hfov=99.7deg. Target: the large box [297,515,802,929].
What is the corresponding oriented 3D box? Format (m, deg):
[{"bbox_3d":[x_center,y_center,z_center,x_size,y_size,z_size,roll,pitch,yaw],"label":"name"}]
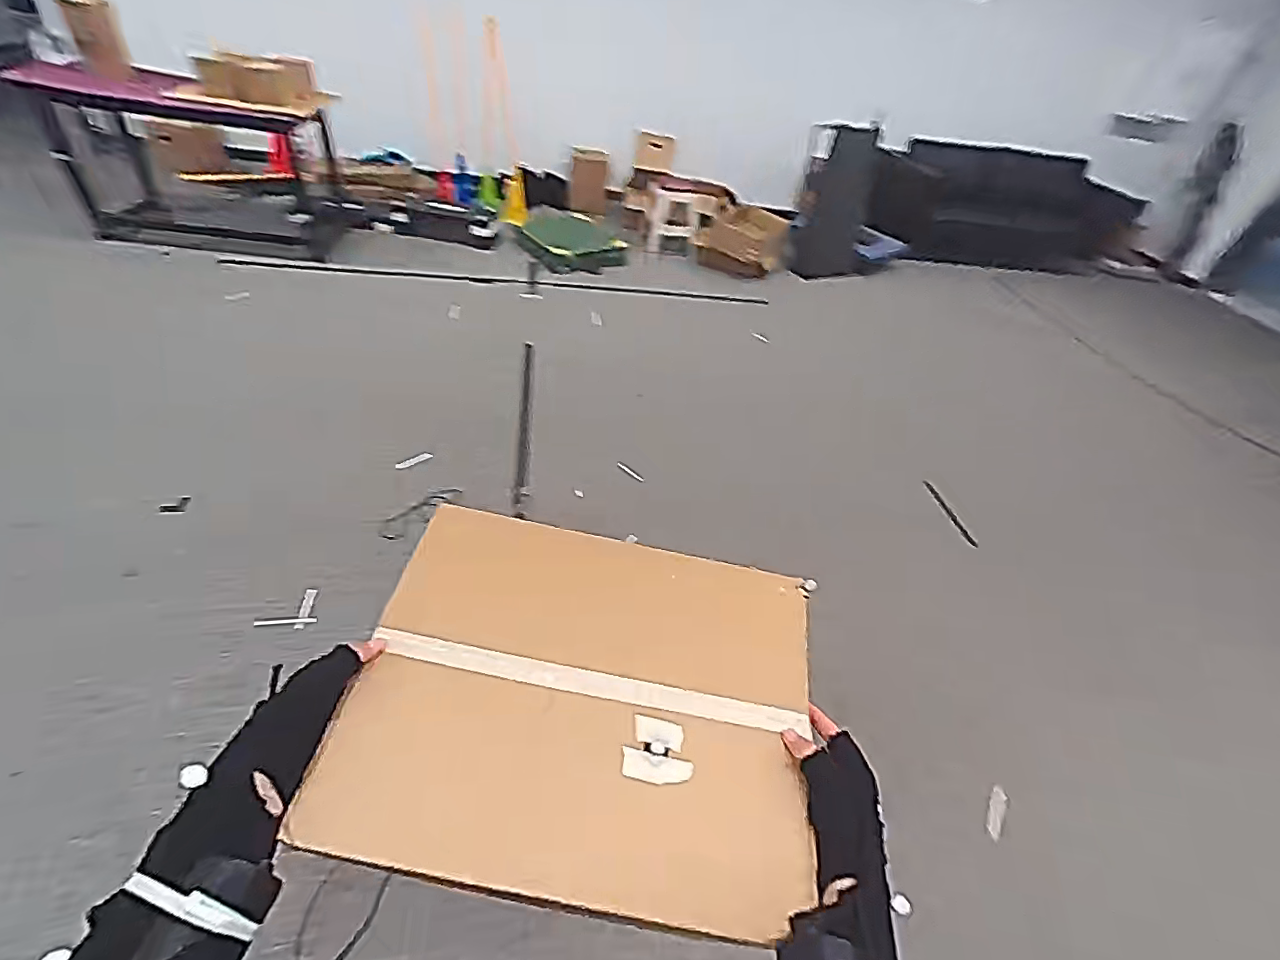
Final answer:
[{"bbox_3d":[-0.070,0.283,0.621,0.408,0.320,0.320,12,52,-1],"label":"large box"}]
